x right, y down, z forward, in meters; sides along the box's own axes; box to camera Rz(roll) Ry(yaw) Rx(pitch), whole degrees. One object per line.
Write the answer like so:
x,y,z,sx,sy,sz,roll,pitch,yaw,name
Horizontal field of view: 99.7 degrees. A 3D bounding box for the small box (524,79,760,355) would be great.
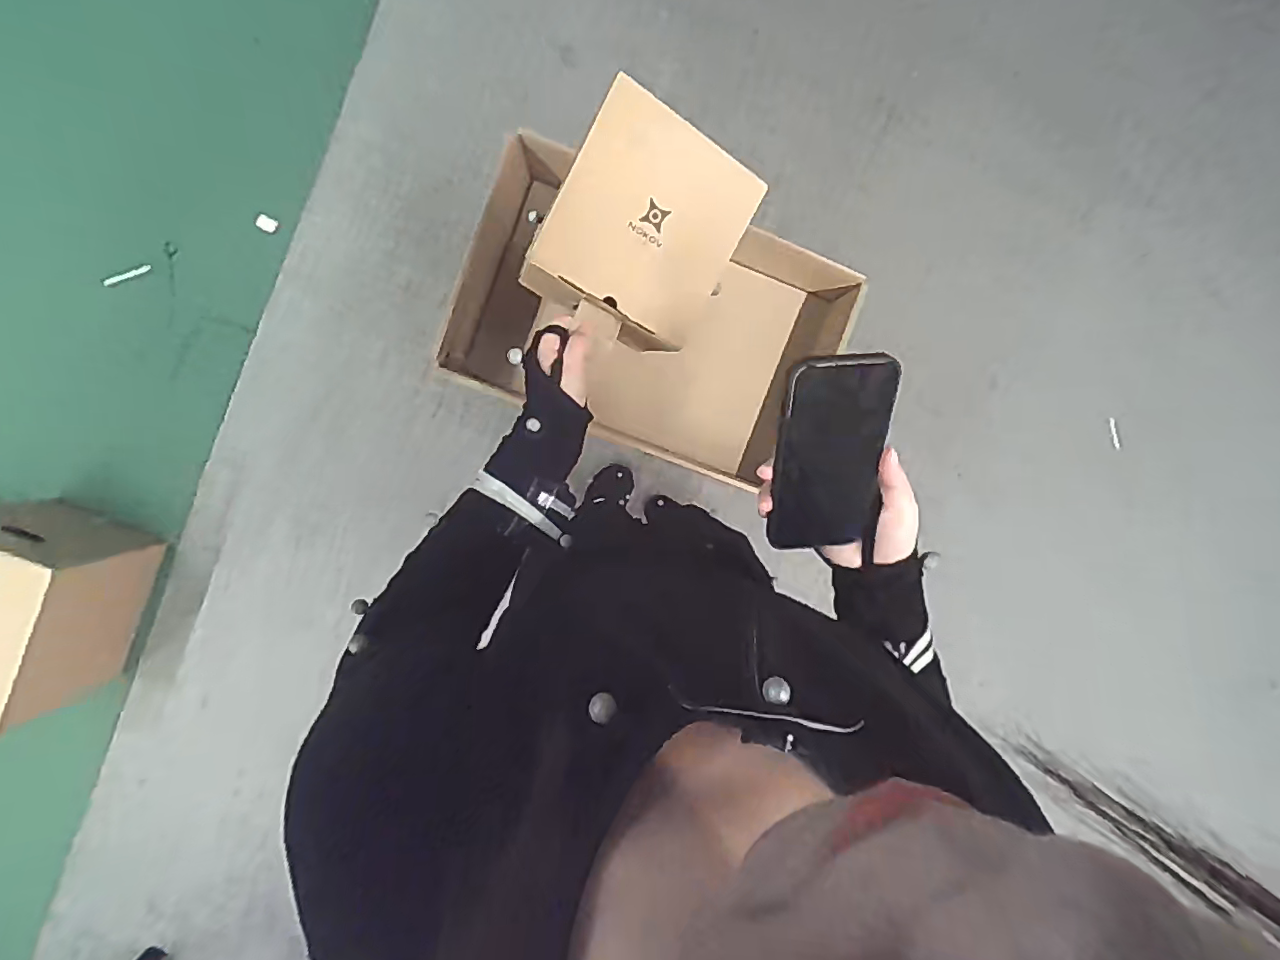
-0.014,-0.247,0.560,0.168,0.176,0.179,26,97,-18,small box
